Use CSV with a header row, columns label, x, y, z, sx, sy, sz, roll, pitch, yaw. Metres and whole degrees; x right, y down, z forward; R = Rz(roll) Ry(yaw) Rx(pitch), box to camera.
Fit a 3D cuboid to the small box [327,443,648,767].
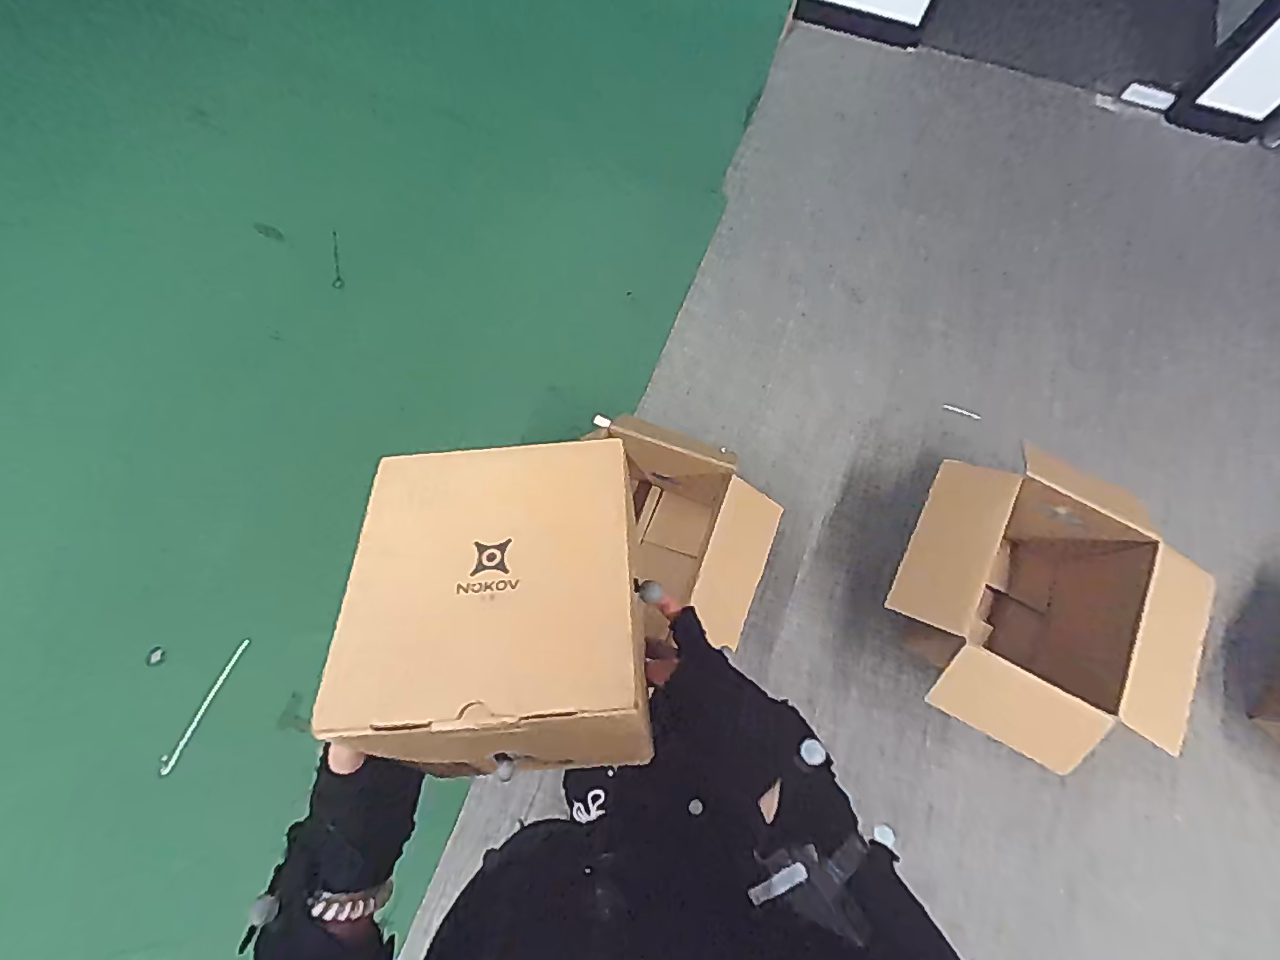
label,x,y,z,sx,sy,sz,roll,pitch,yaw
small box,-0.083,0.096,0.392,0.168,0.176,0.179,-5,56,1
